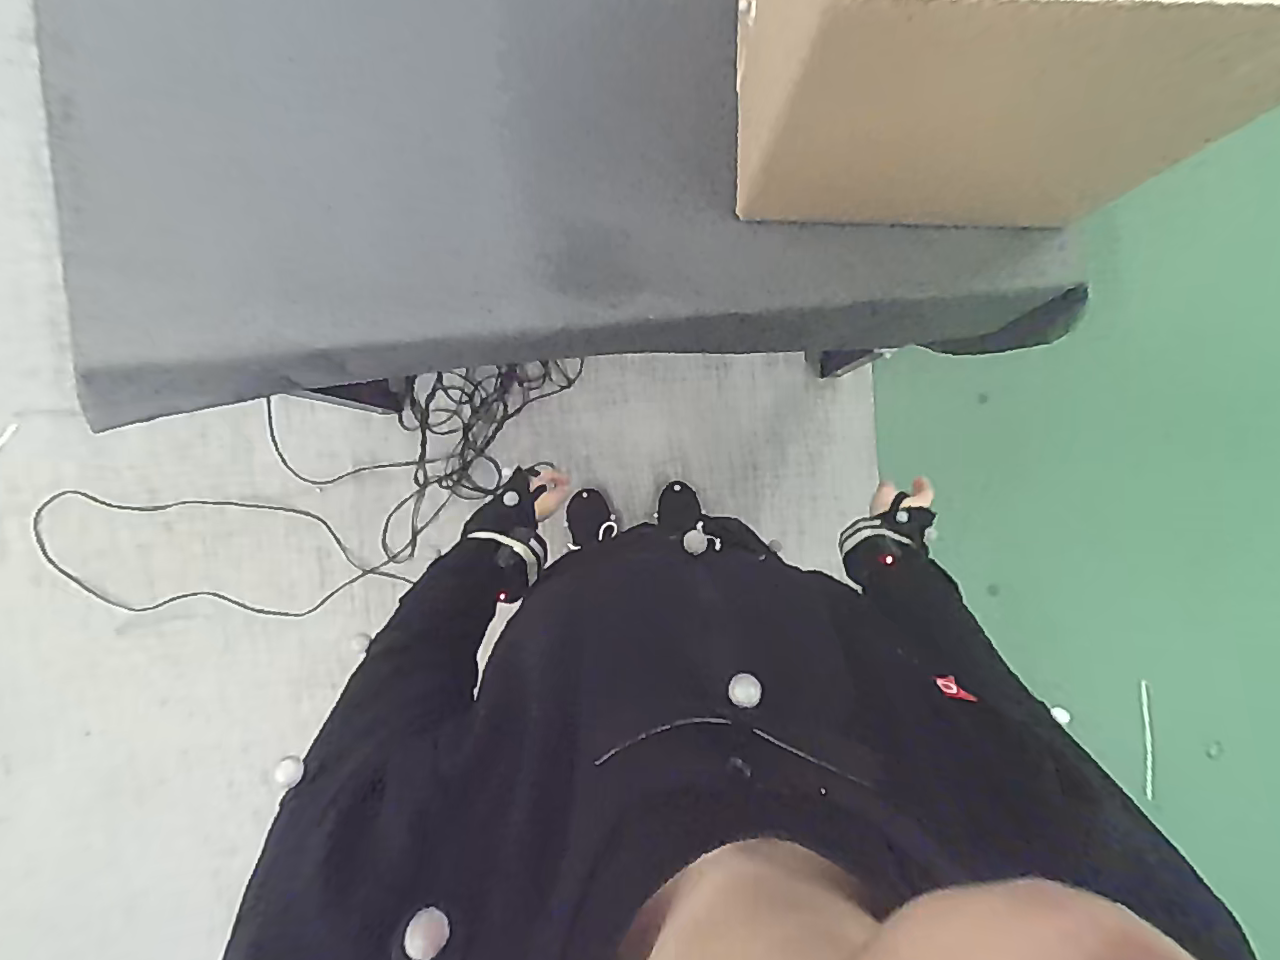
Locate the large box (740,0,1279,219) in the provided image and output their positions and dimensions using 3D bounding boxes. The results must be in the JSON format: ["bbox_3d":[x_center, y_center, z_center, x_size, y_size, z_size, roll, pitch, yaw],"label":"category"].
[{"bbox_3d":[0.320,-0.461,0.496,0.408,0.320,0.320,0,91,-2],"label":"large box"}]
